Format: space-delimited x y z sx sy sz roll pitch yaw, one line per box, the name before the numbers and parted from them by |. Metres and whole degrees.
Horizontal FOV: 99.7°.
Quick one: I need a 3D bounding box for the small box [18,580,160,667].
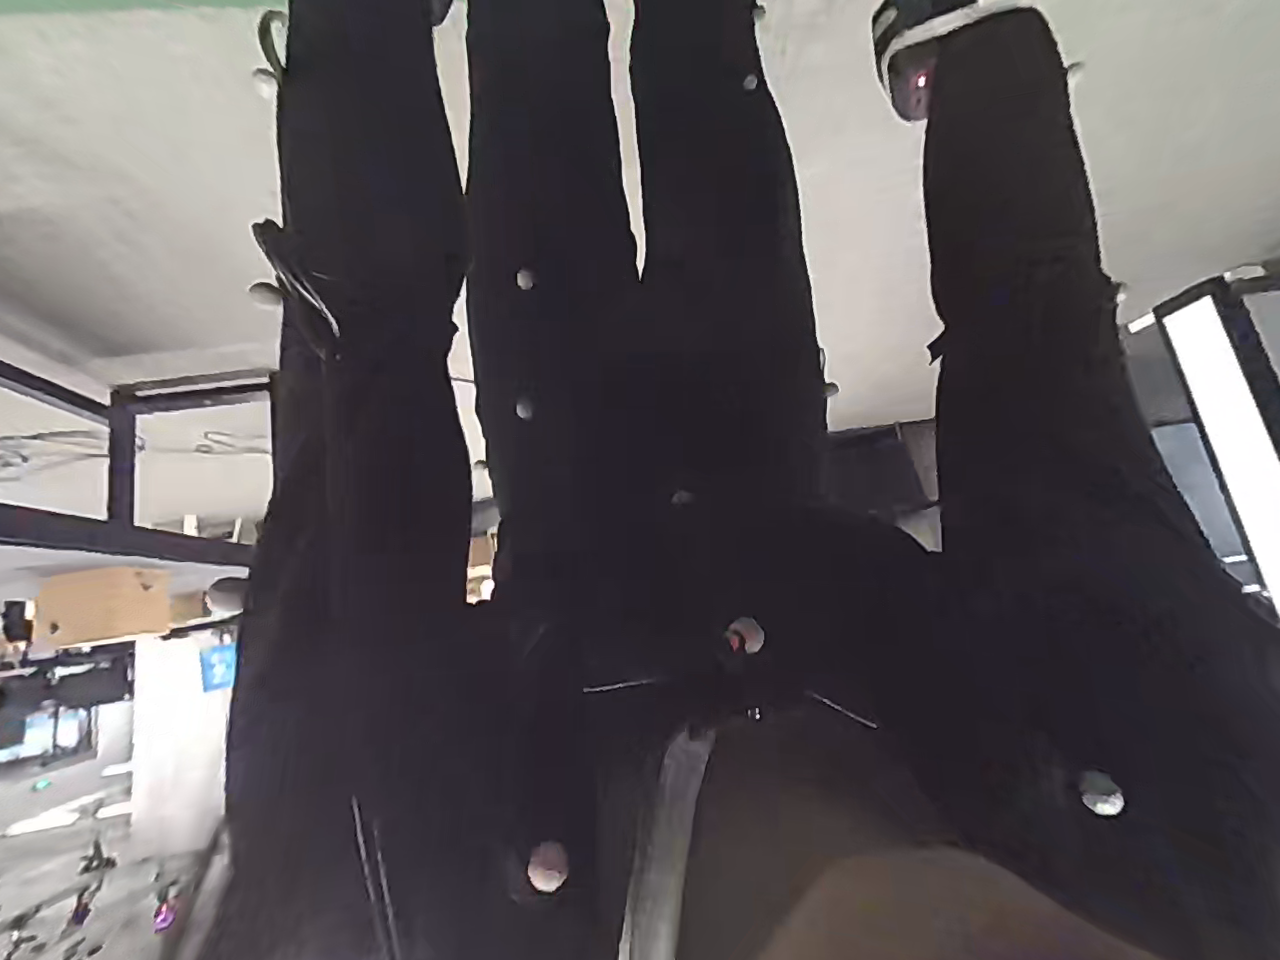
small box | -1.292 0.337 1.285 0.179 0.176 0.168 -7 167 -7
